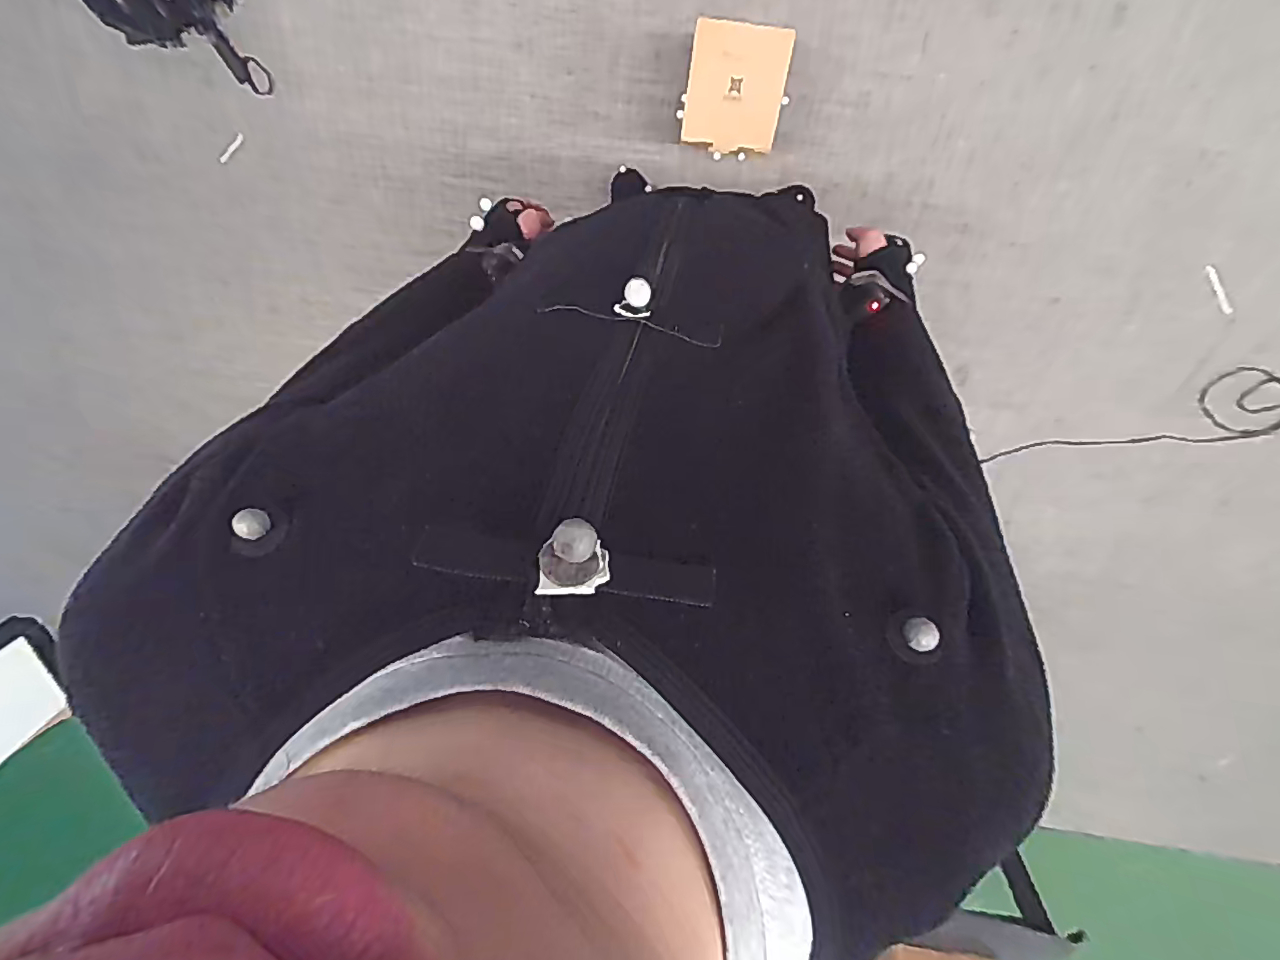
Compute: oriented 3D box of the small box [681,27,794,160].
[{"bbox_3d":[0.173,-0.704,1.004,0.168,0.176,0.179,8,119,1],"label":"small box"}]
